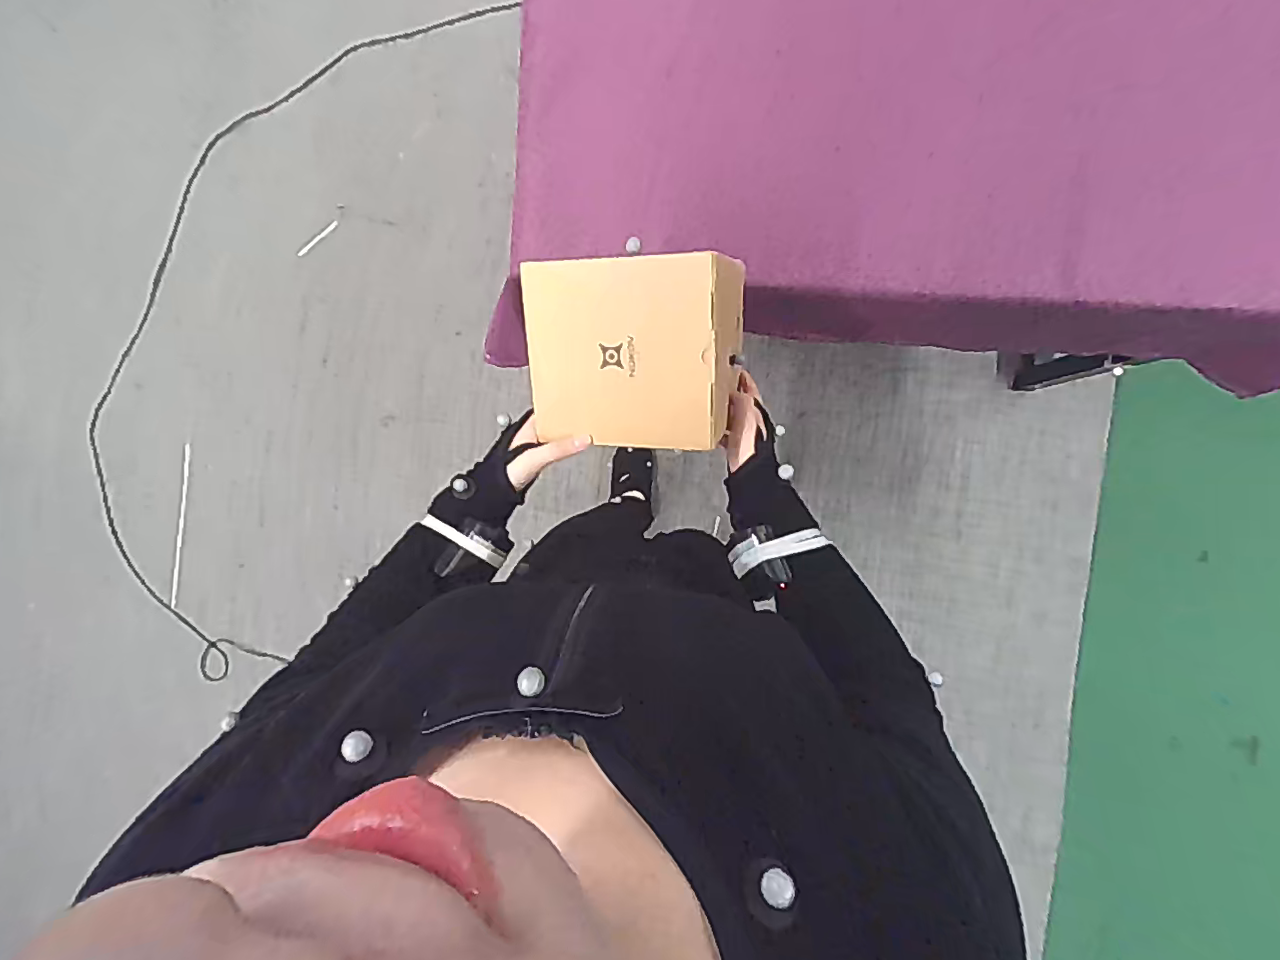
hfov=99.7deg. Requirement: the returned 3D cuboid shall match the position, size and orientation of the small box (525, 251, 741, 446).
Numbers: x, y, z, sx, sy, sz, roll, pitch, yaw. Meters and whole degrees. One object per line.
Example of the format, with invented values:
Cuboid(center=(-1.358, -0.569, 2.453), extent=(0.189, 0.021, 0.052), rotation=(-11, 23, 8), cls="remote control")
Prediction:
Cuboid(center=(0.004, -0.138, 0.556), extent=(0.179, 0.176, 0.168), rotation=(4, 109, 16), cls="small box")
